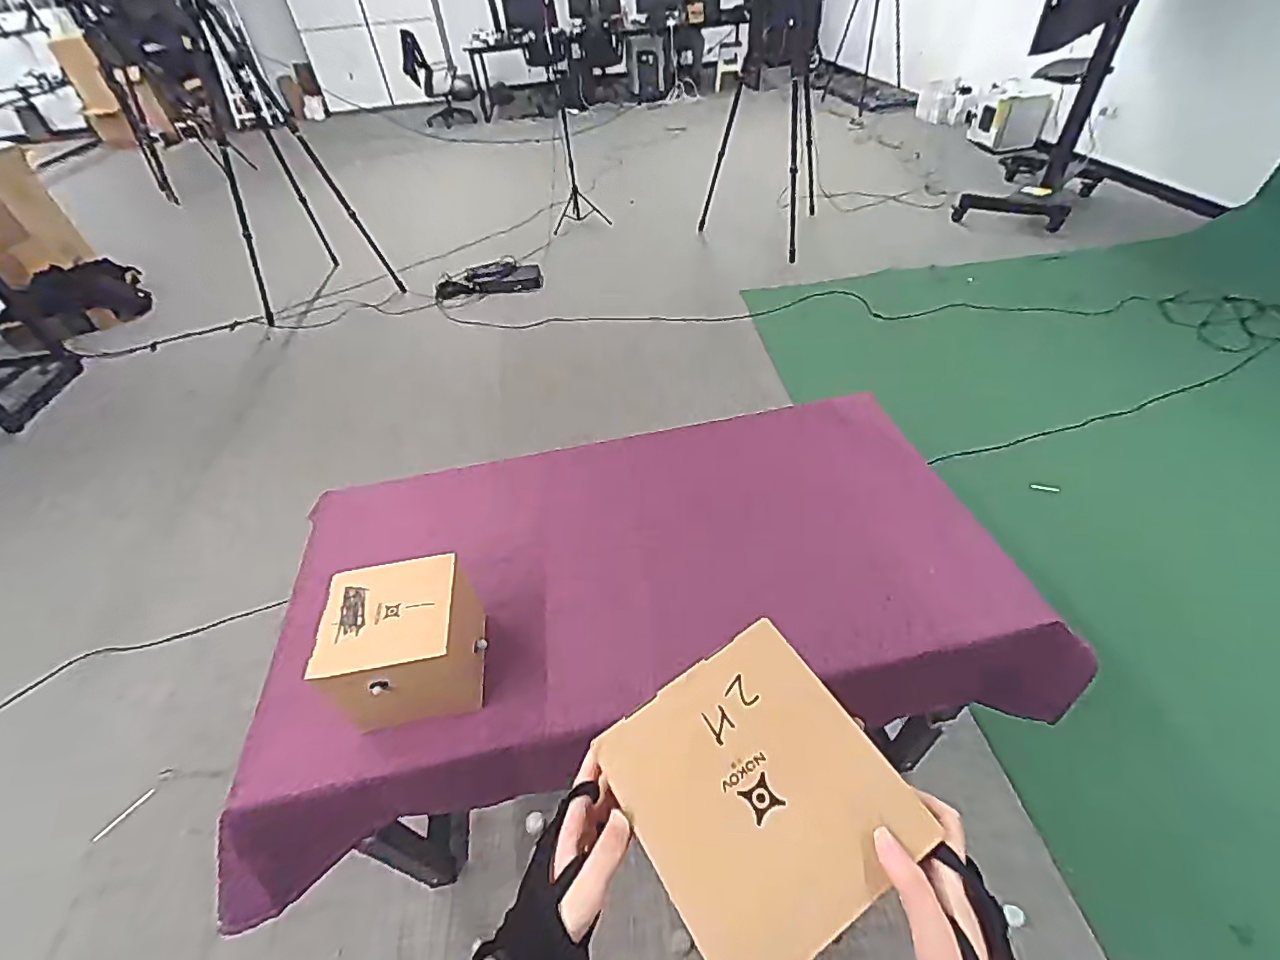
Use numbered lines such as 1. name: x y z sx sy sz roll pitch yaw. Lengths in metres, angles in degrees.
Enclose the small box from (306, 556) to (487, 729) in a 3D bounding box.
1. small box: -0.334 0.238 0.781 0.179 0.176 0.168 -10 45 -4
